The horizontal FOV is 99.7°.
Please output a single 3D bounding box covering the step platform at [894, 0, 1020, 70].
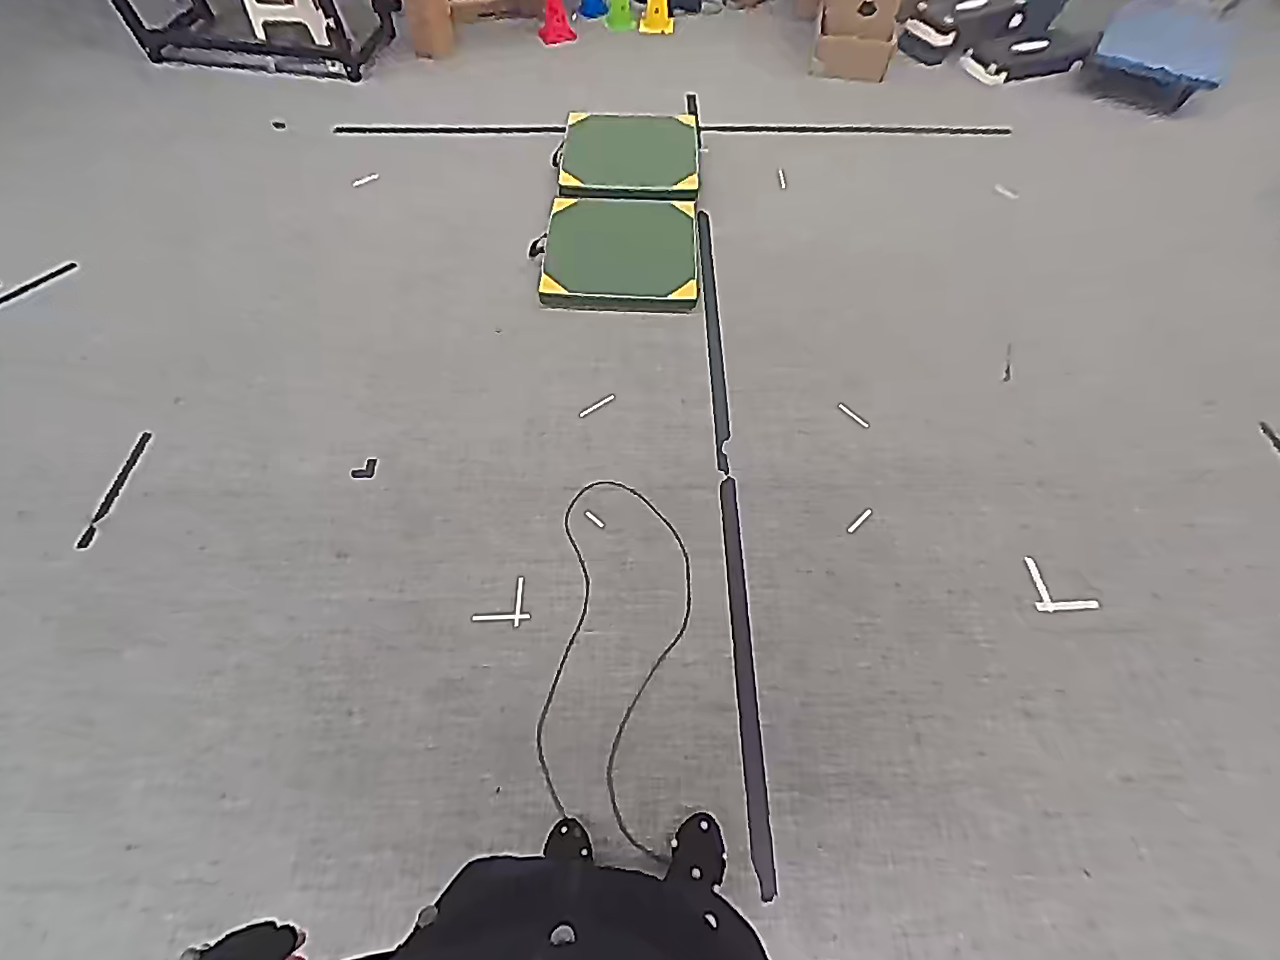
[{"bbox_3d":[1.835,-2.597,3.123,0.684,0.204,0.286,-26,64,-15],"label":"step platform"}]
